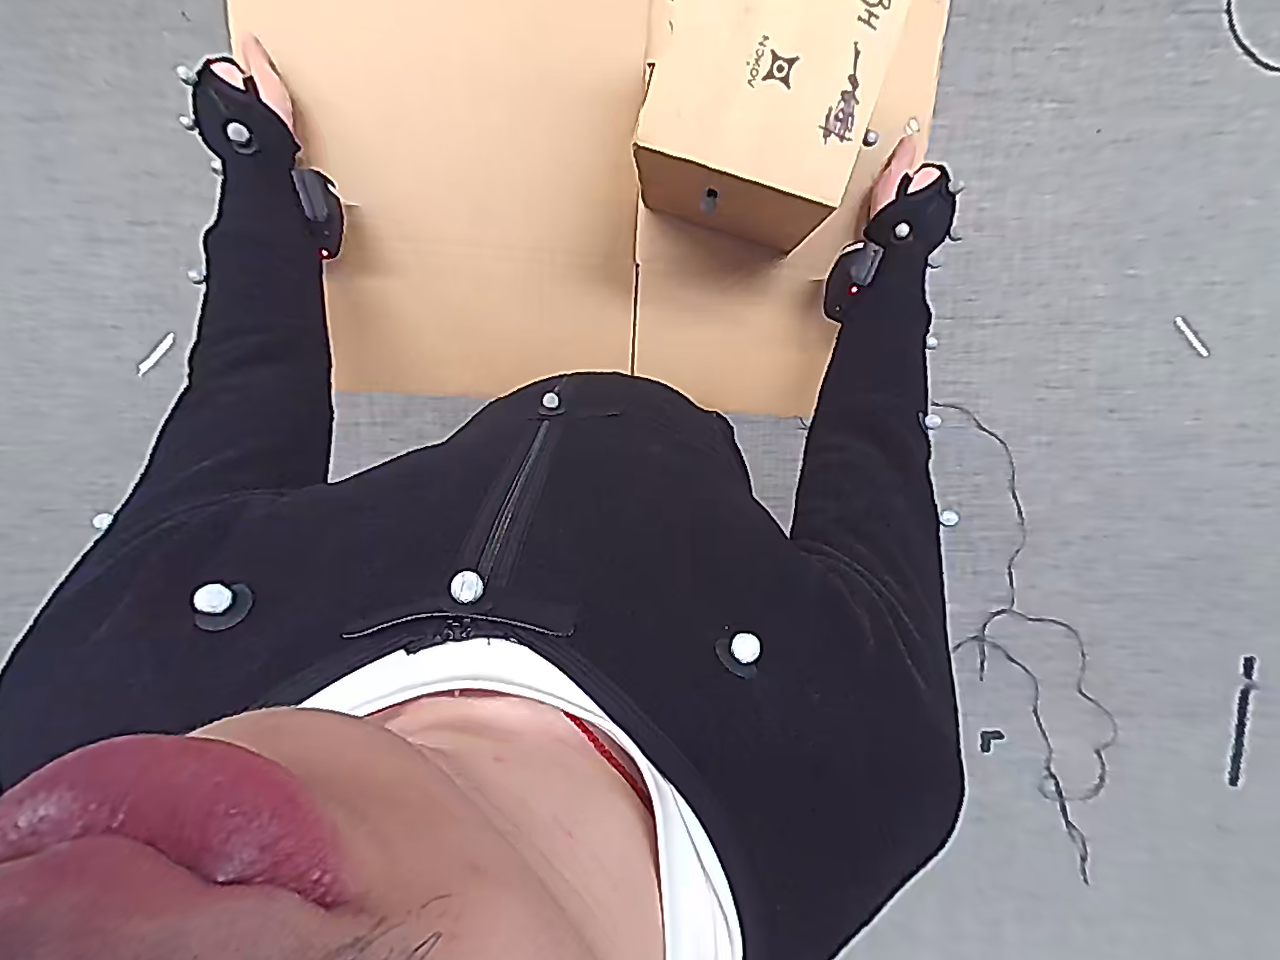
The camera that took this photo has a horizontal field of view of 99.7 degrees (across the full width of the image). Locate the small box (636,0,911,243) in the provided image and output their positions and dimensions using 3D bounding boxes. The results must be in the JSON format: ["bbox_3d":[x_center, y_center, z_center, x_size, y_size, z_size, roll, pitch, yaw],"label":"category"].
[{"bbox_3d":[0.108,-0.340,0.501,0.179,0.176,0.168,18,102,0],"label":"small box"}]
